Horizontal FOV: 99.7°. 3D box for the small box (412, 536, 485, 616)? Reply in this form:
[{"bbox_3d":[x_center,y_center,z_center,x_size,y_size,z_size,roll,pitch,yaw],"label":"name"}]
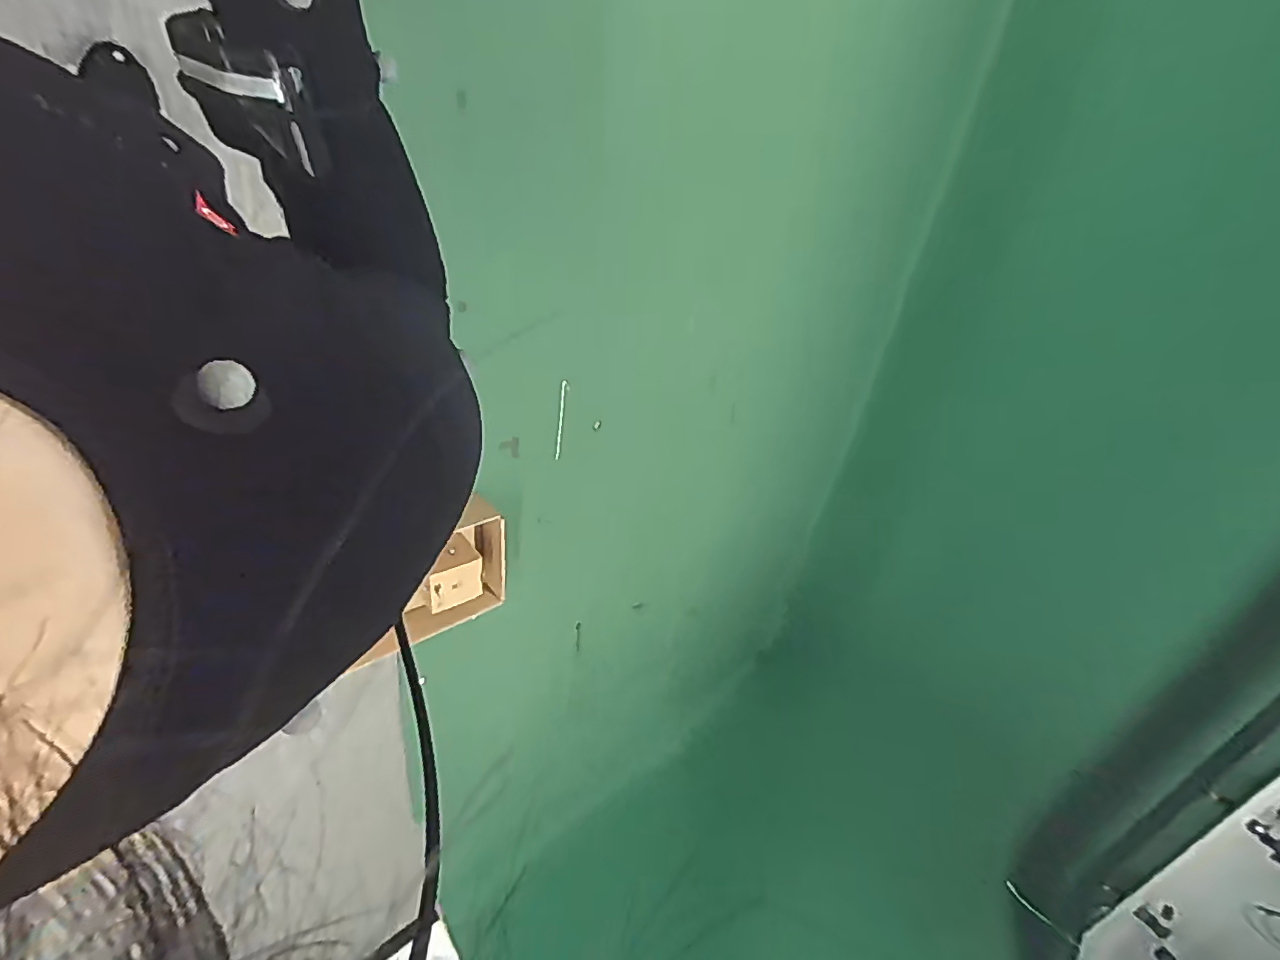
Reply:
[{"bbox_3d":[-0.628,0.307,1.777,0.179,0.176,0.168,-18,131,-38],"label":"small box"}]

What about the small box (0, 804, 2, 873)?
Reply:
[{"bbox_3d":[-1.376,0.695,1.035,0.168,0.176,0.179,-21,131,-40],"label":"small box"}]
